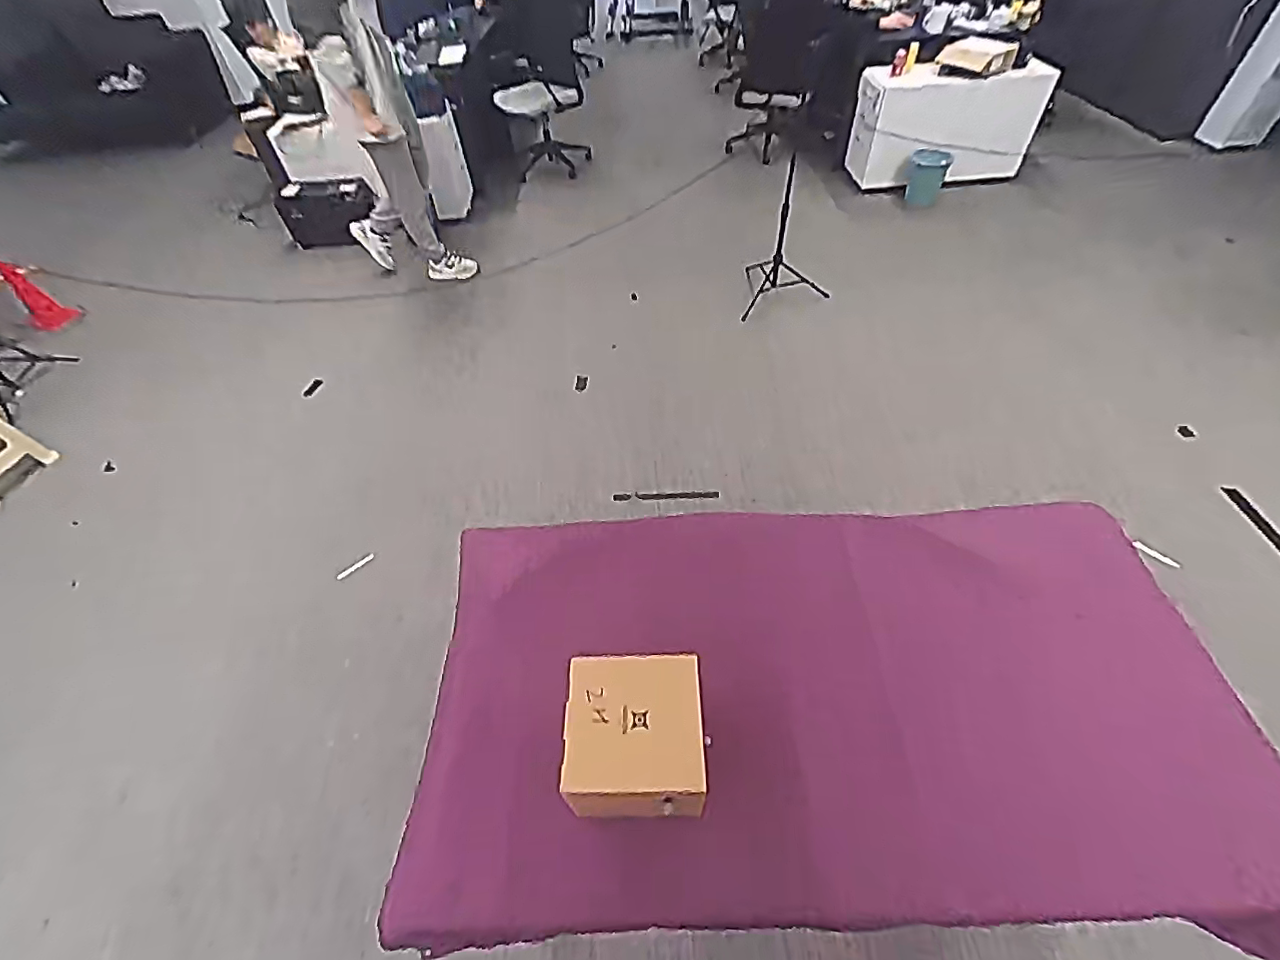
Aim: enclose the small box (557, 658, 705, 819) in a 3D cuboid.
[{"bbox_3d":[-0.007,0.356,0.742,0.179,0.176,0.168,-2,50,3],"label":"small box"}]
